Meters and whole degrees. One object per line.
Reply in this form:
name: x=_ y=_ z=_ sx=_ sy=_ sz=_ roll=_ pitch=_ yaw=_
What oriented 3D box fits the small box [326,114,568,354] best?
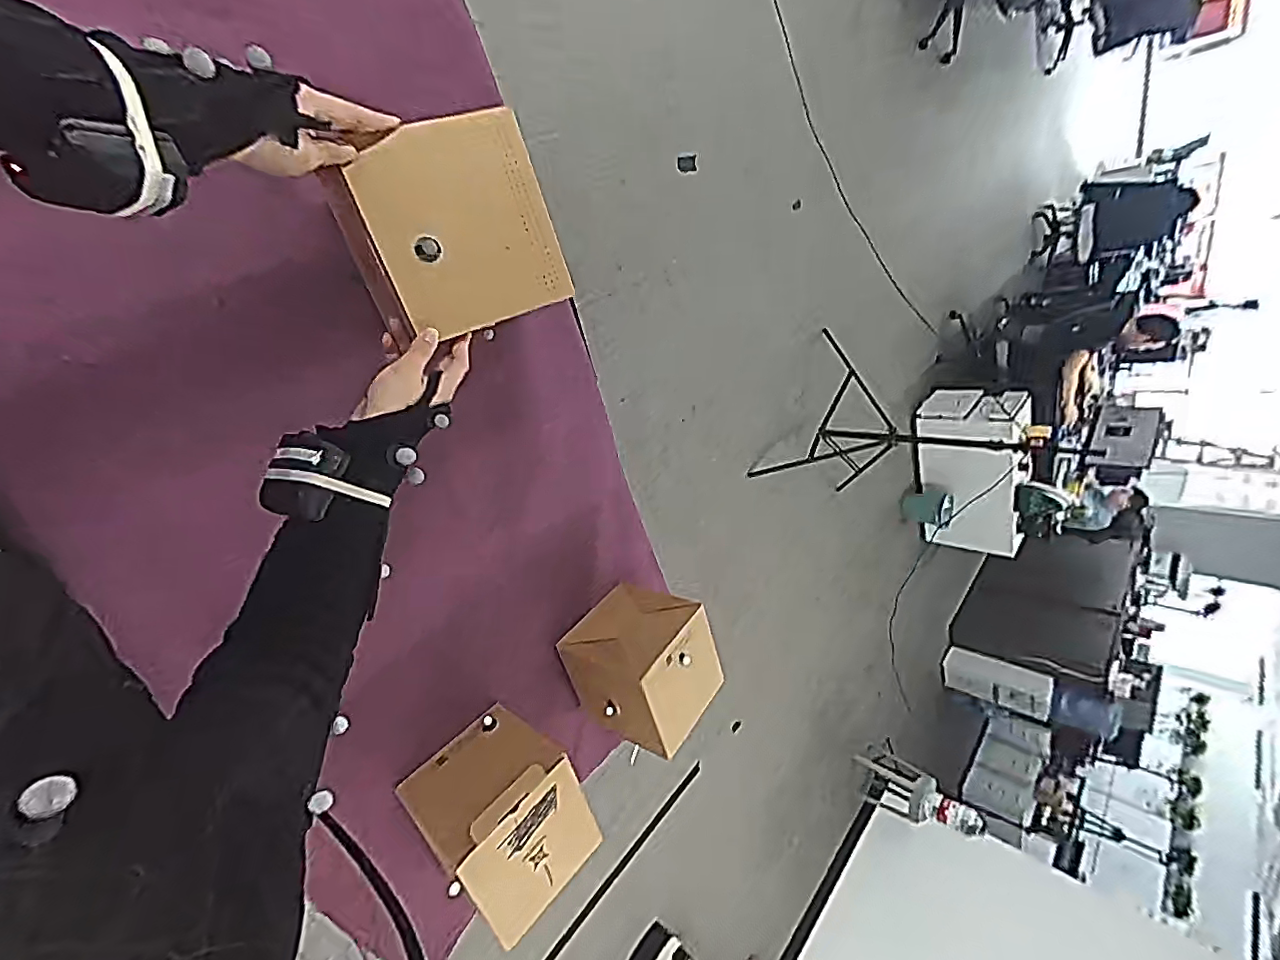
small box: x=-0.196 y=-0.244 z=0.561 sx=0.176 sy=0.168 sz=0.179 roll=-28 pitch=113 yaw=-24

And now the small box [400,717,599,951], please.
small box: x=-0.187 y=0.447 z=0.719 sx=0.168 sy=0.176 sz=0.179 roll=-34 pitch=119 yaw=-37
